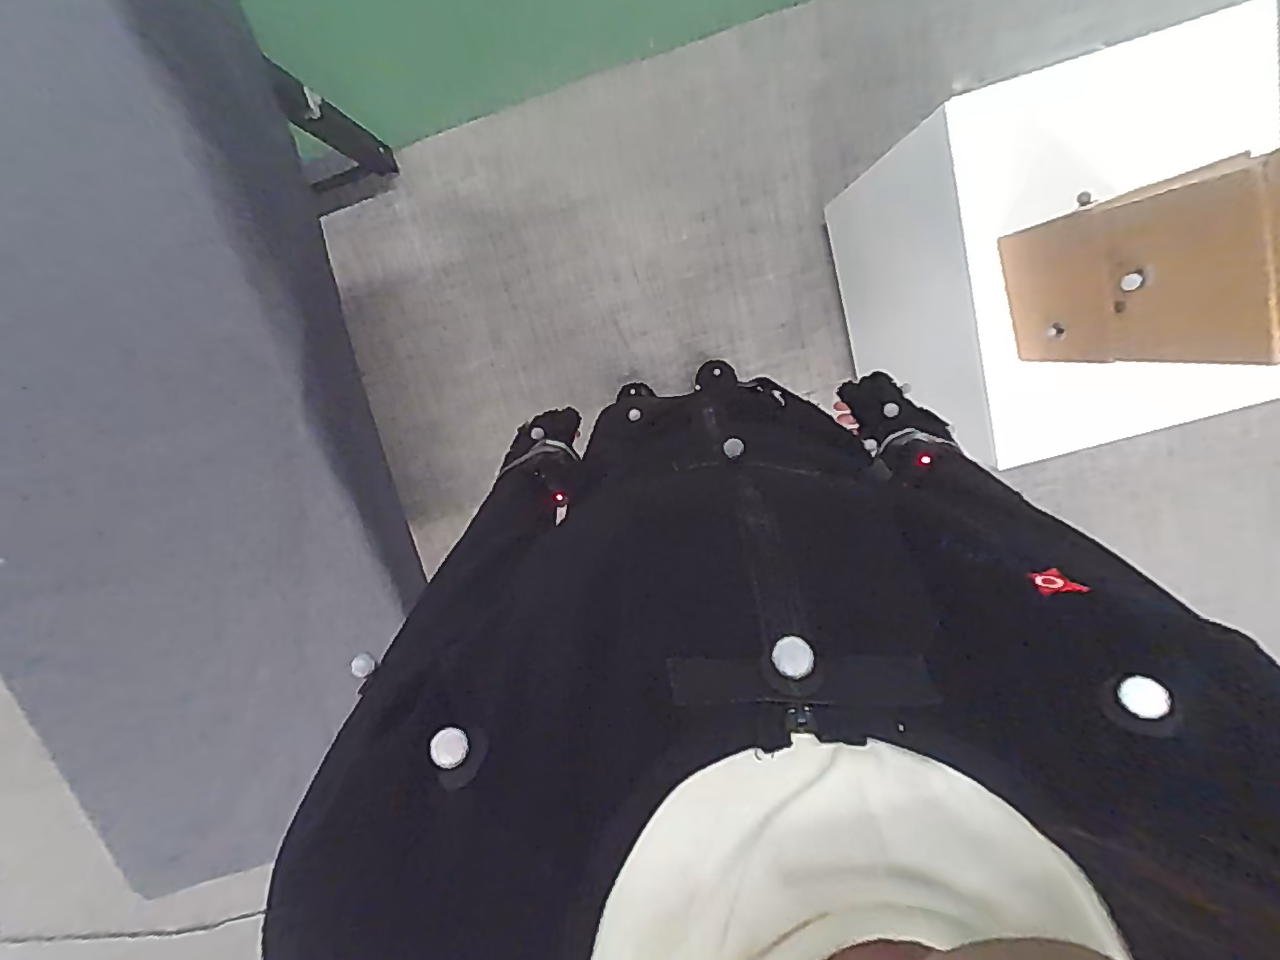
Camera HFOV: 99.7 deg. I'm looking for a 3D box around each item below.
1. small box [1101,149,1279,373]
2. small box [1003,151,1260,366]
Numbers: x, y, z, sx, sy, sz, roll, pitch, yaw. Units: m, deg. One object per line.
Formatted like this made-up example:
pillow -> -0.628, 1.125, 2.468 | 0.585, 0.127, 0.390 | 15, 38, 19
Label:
small box -> 0.582, -0.208, 0.491 | 0.179, 0.176, 0.168 | -21, 102, 5
small box -> 0.581, -0.249, 0.650 | 0.168, 0.176, 0.179 | -19, 101, 6
